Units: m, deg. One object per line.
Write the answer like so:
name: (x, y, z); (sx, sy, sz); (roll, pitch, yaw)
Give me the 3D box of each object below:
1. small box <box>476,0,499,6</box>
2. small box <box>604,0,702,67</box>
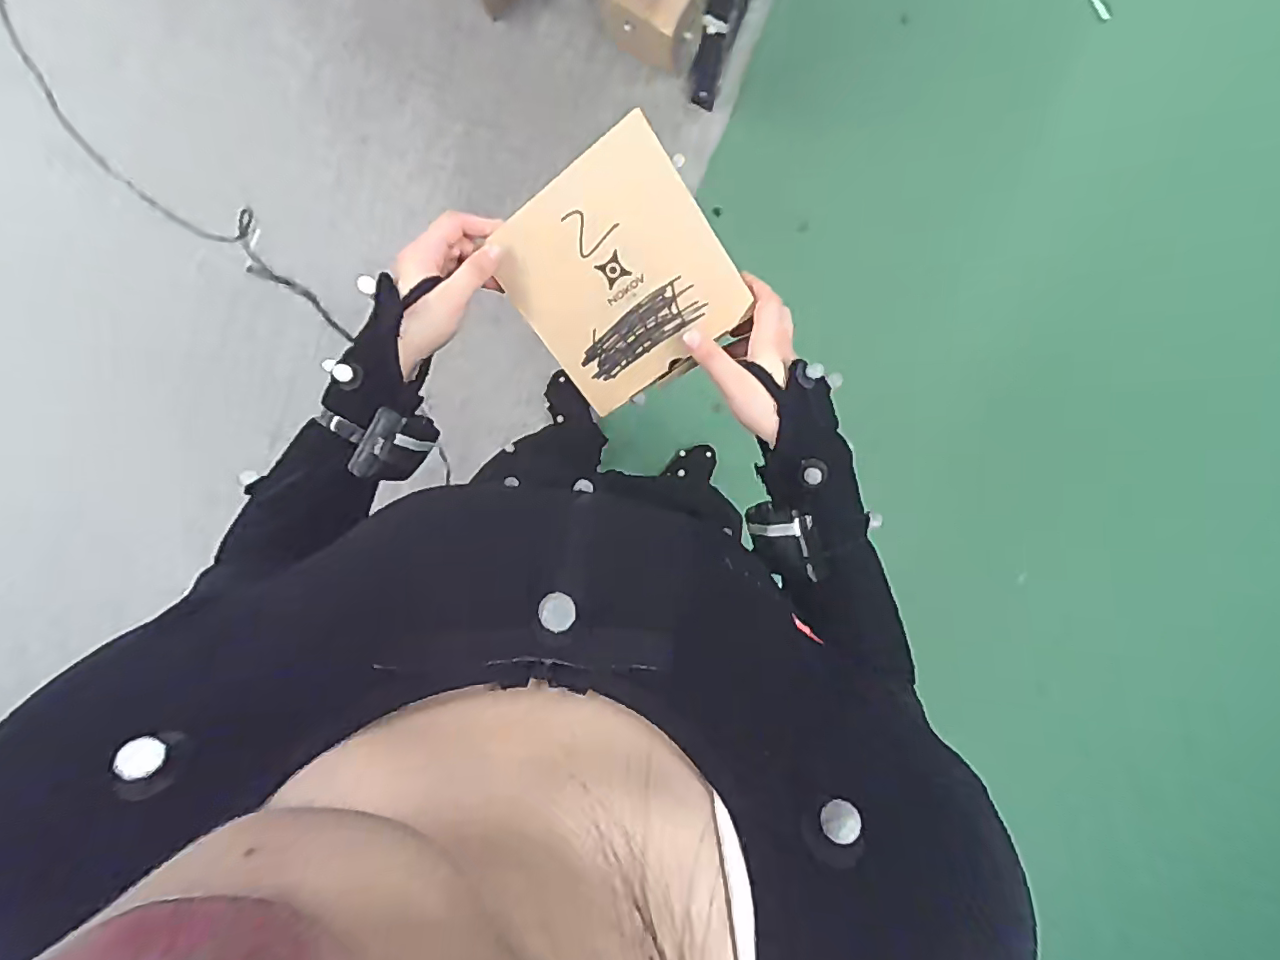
small box: (-0.356, -1.189, 1.167); (0.179, 0.176, 0.168); (44, 98, -5)
small box: (0.030, -1.060, 1.181); (0.179, 0.176, 0.168); (29, 101, -5)
